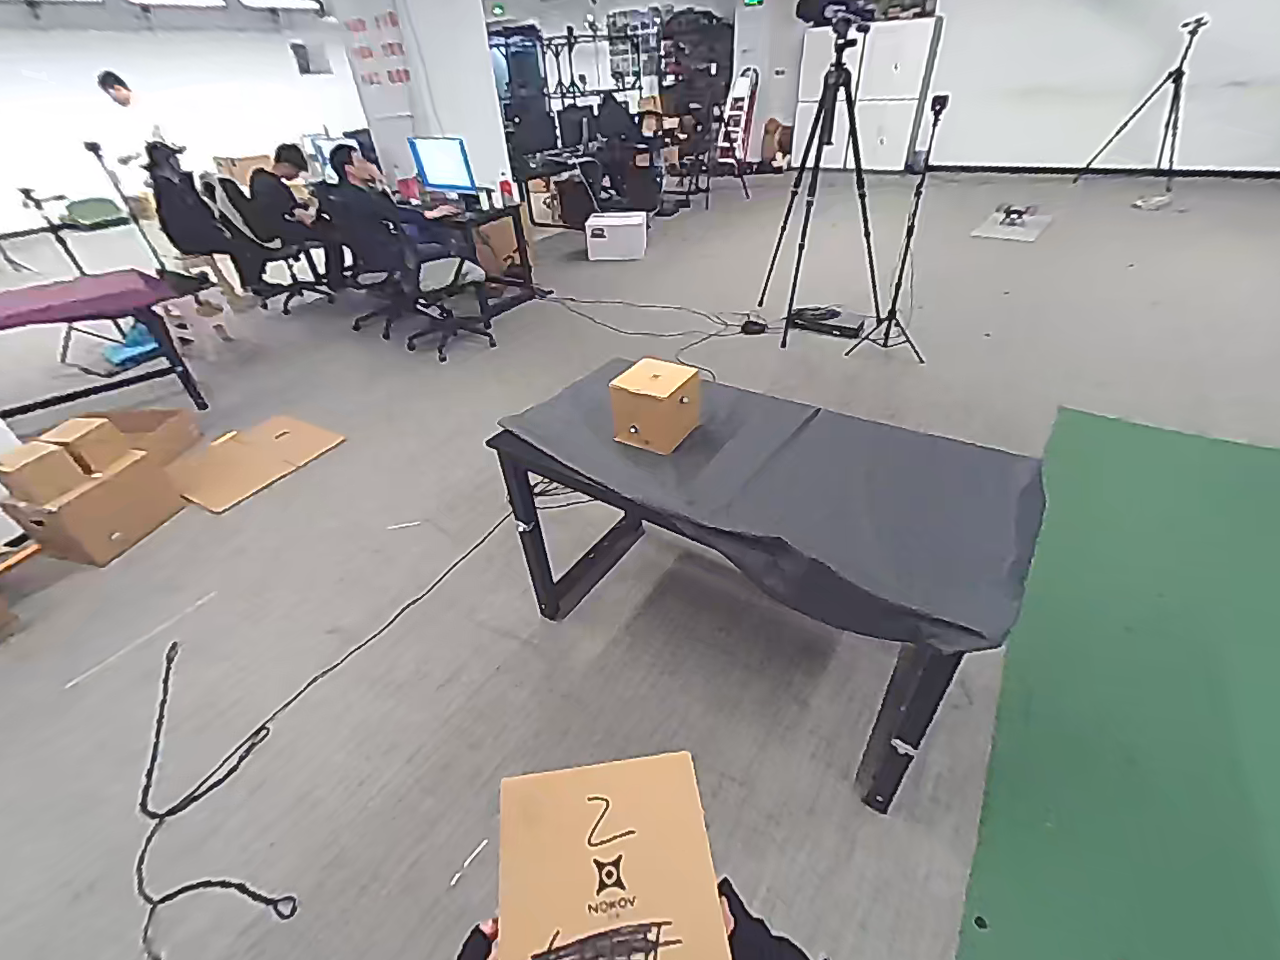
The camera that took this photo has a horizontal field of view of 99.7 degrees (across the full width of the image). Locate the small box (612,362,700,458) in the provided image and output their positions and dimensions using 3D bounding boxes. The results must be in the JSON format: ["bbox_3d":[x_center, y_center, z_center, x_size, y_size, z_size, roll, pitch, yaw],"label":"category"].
[{"bbox_3d":[0.043,-0.185,1.420,0.168,0.176,0.179,19,43,27],"label":"small box"}]
